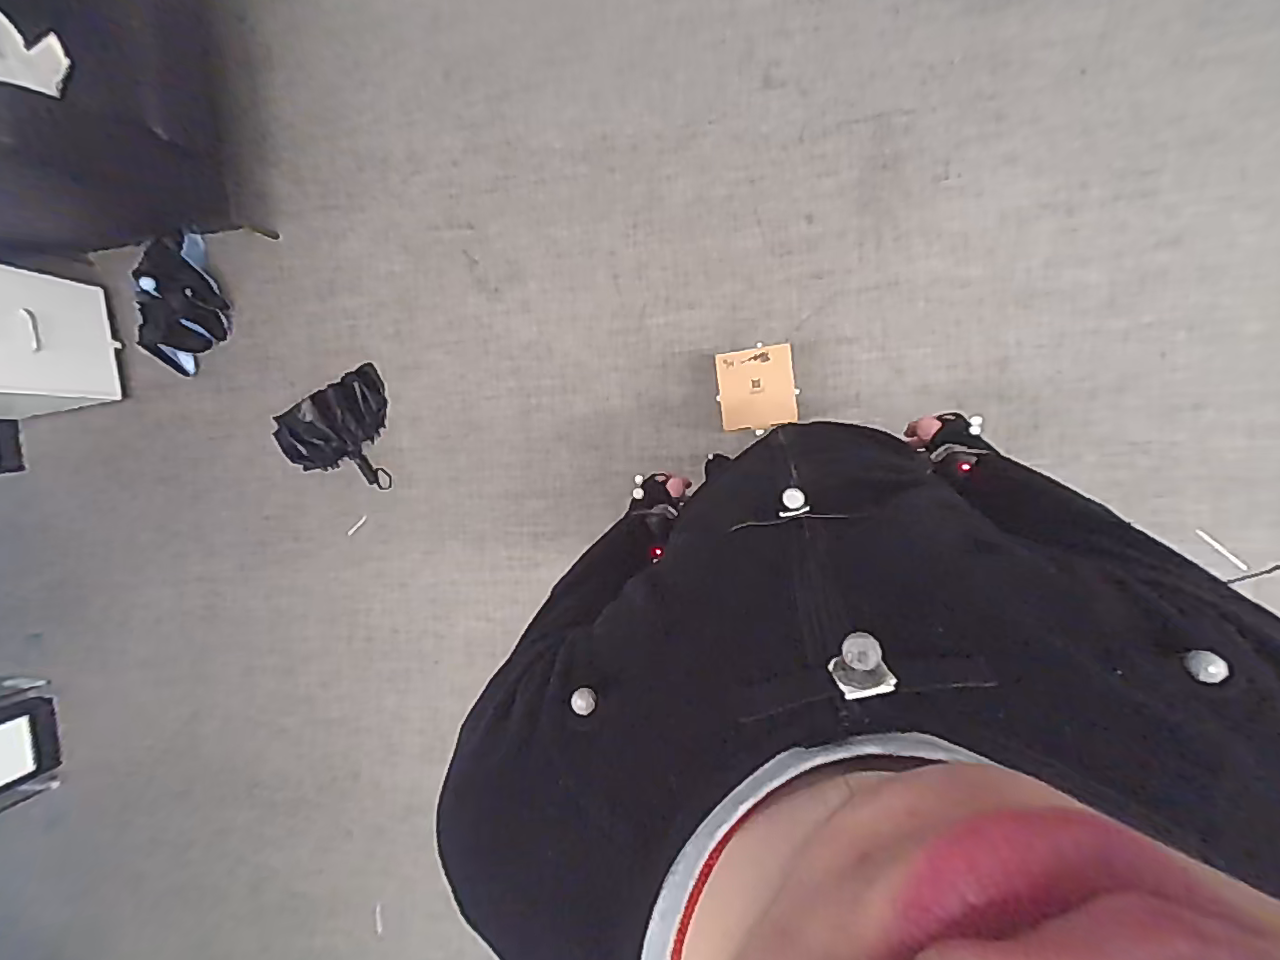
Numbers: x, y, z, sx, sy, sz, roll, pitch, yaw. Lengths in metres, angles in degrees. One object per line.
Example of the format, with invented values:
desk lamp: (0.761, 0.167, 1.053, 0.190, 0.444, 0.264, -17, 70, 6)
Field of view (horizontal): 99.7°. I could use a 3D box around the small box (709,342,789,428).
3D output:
small box: (0.262, -0.220, 1.286, 0.168, 0.176, 0.179, -6, 94, 13)
